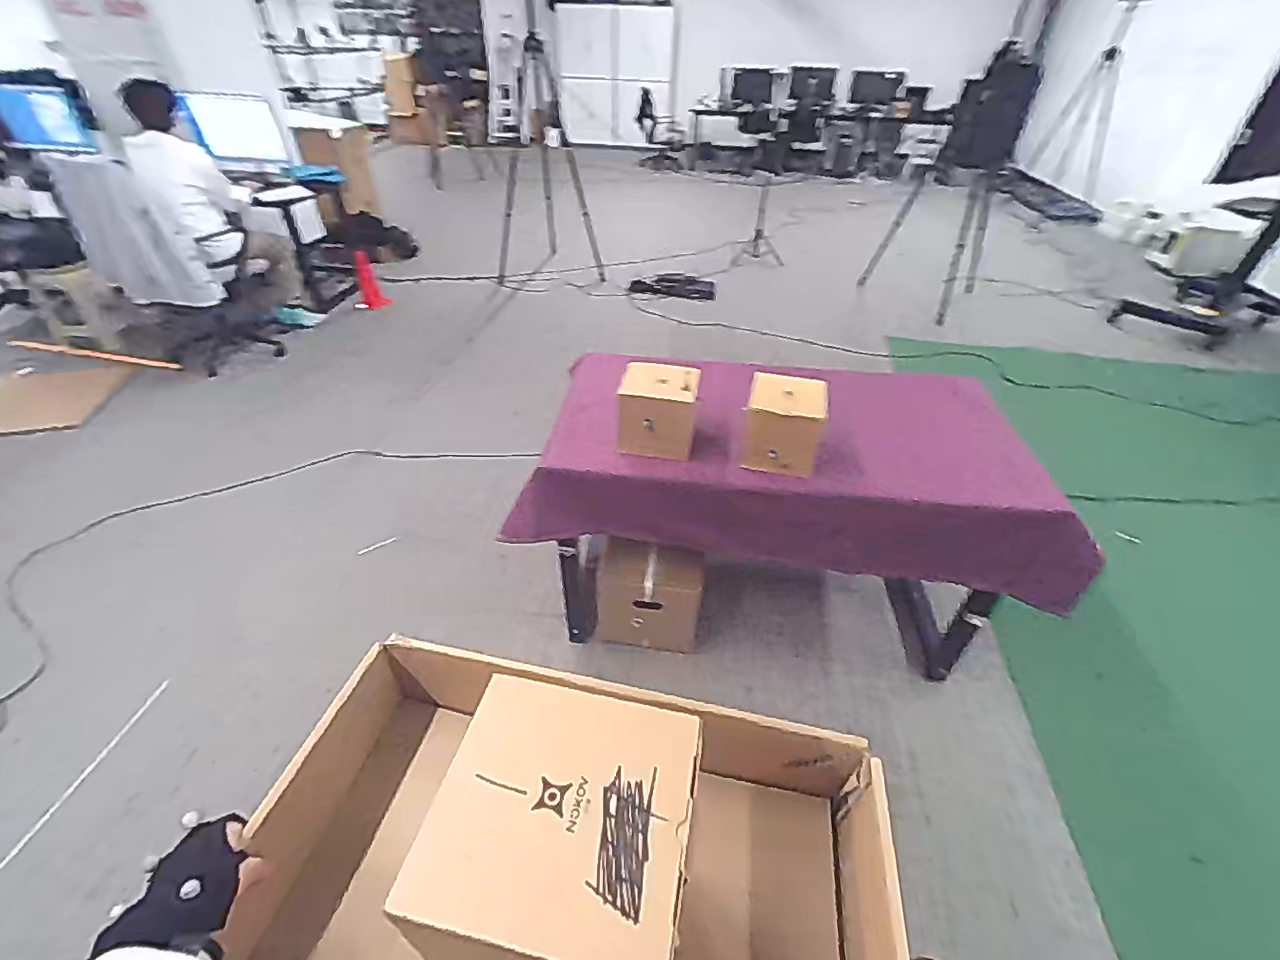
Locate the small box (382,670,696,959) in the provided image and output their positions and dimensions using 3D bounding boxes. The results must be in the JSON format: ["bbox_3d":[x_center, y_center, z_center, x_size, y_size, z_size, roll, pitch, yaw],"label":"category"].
[{"bbox_3d":[-0.059,0.282,0.426,0.179,0.176,0.168,8,38,8],"label":"small box"}]

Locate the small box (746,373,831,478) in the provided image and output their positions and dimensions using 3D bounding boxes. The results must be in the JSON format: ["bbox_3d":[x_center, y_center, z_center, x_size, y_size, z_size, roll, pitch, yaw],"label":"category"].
[{"bbox_3d":[0.351,-0.131,1.287,0.168,0.176,0.179,11,41,11],"label":"small box"}]

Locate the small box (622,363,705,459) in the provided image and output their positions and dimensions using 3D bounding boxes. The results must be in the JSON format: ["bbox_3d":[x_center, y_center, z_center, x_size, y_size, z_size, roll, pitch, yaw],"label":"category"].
[{"bbox_3d":[0.058,-0.168,1.320,0.179,0.176,0.168,7,41,8],"label":"small box"}]
